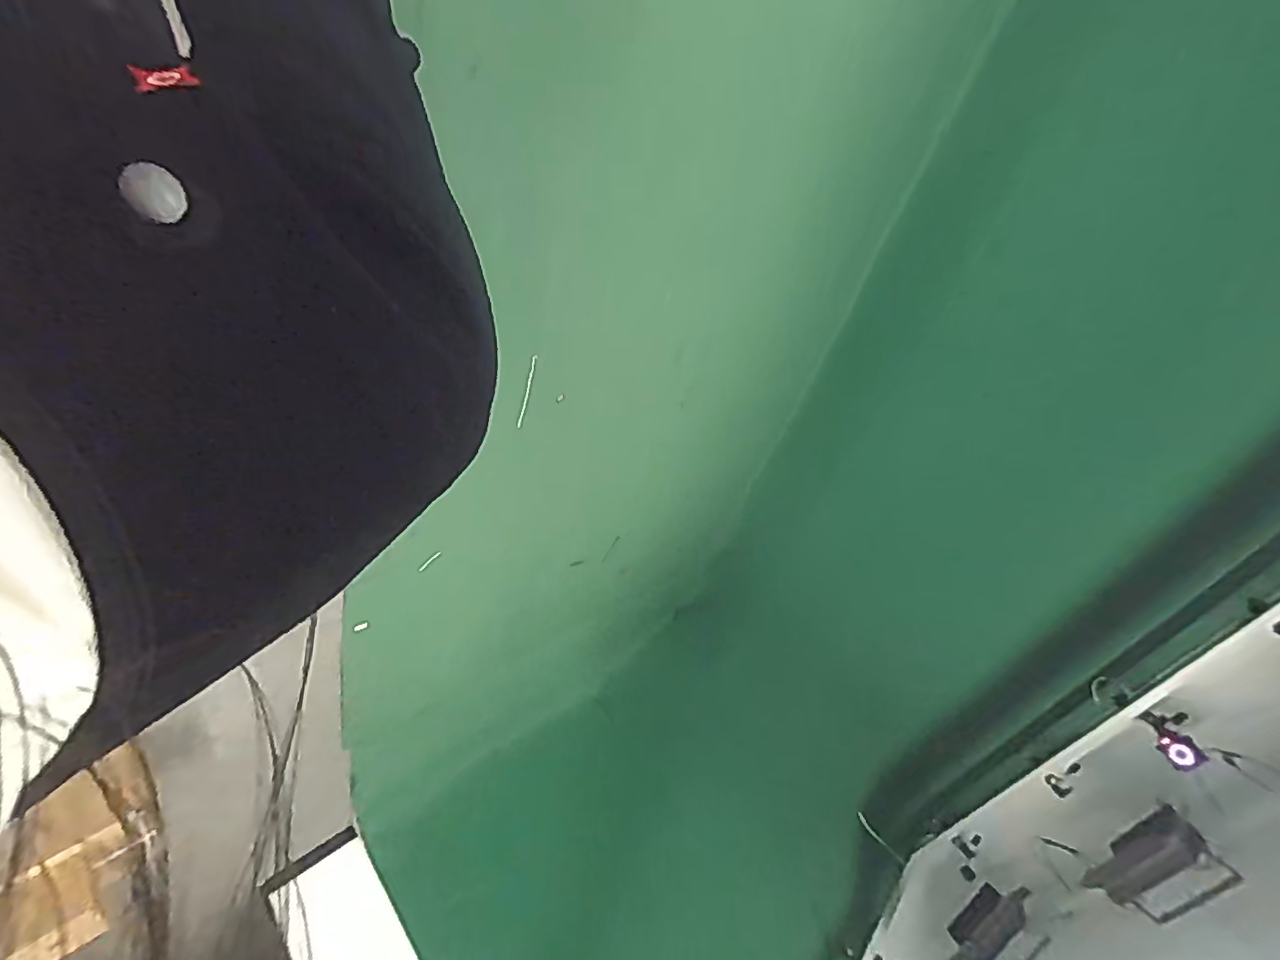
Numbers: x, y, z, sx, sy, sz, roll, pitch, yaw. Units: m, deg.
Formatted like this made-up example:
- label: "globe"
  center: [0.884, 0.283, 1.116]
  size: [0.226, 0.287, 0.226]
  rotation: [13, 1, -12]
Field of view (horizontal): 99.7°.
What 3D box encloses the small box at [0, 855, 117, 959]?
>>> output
- label: "small box"
  center: [-1.554, 1.156, 1.443]
  size: [0.179, 0.176, 0.168]
  rotation: [-21, 140, -41]
